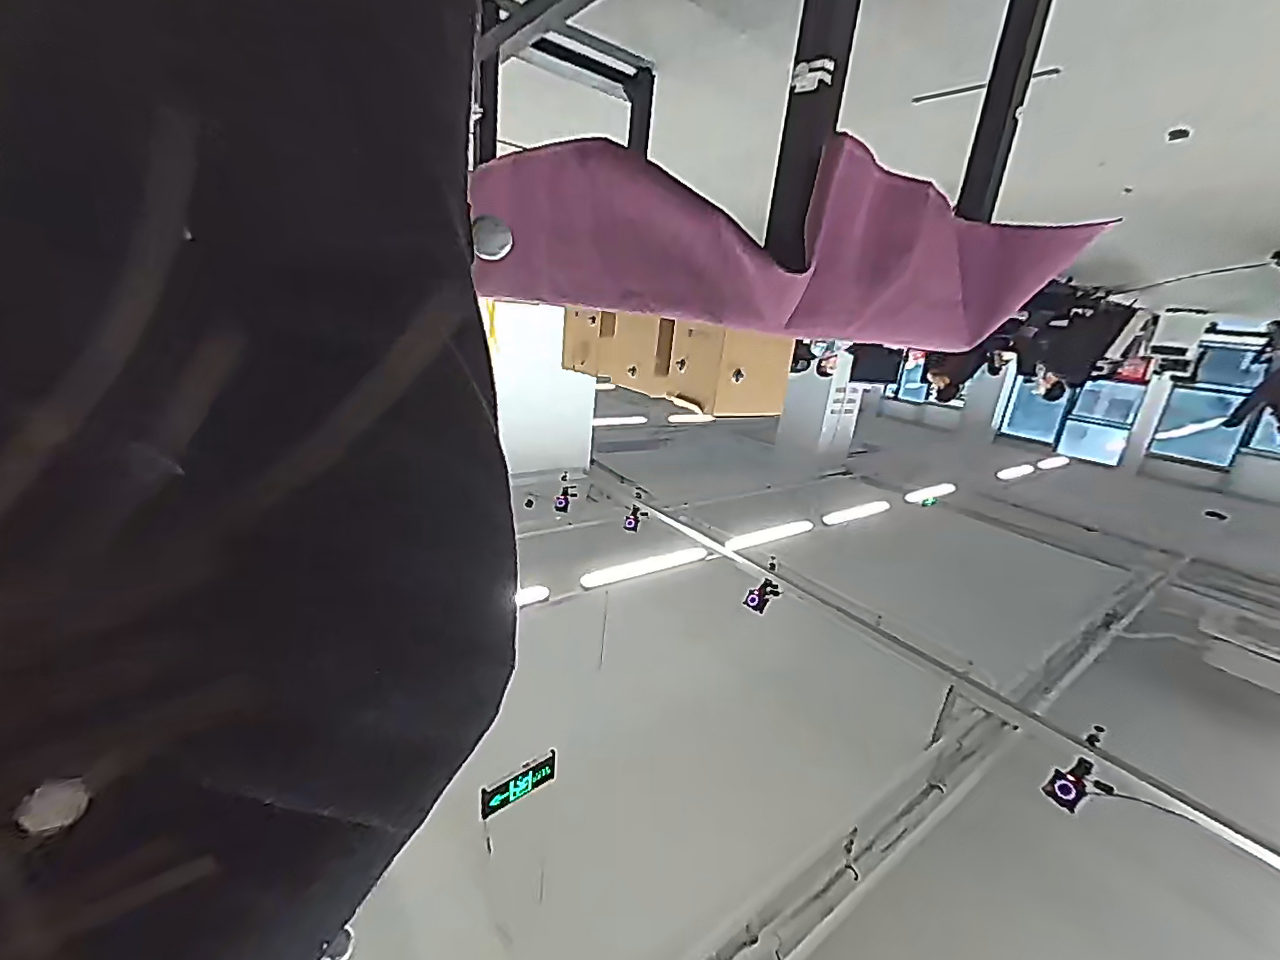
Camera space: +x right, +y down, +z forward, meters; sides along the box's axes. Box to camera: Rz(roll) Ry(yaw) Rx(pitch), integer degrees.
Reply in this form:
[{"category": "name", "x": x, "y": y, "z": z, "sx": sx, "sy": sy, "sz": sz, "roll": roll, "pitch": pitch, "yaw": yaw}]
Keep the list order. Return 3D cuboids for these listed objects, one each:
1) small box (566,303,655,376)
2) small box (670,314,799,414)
[{"category": "small box", "x": -0.078, "y": -0.373, "z": 1.427, "sx": 0.179, "sy": 0.176, "sz": 0.168, "roll": -11, "pitch": -156, "yaw": -39}, {"category": "small box", "x": 0.182, "y": -0.230, "z": 1.059, "sx": 0.179, "sy": 0.176, "sz": 0.168, "roll": -5, "pitch": -158, "yaw": -30}]
